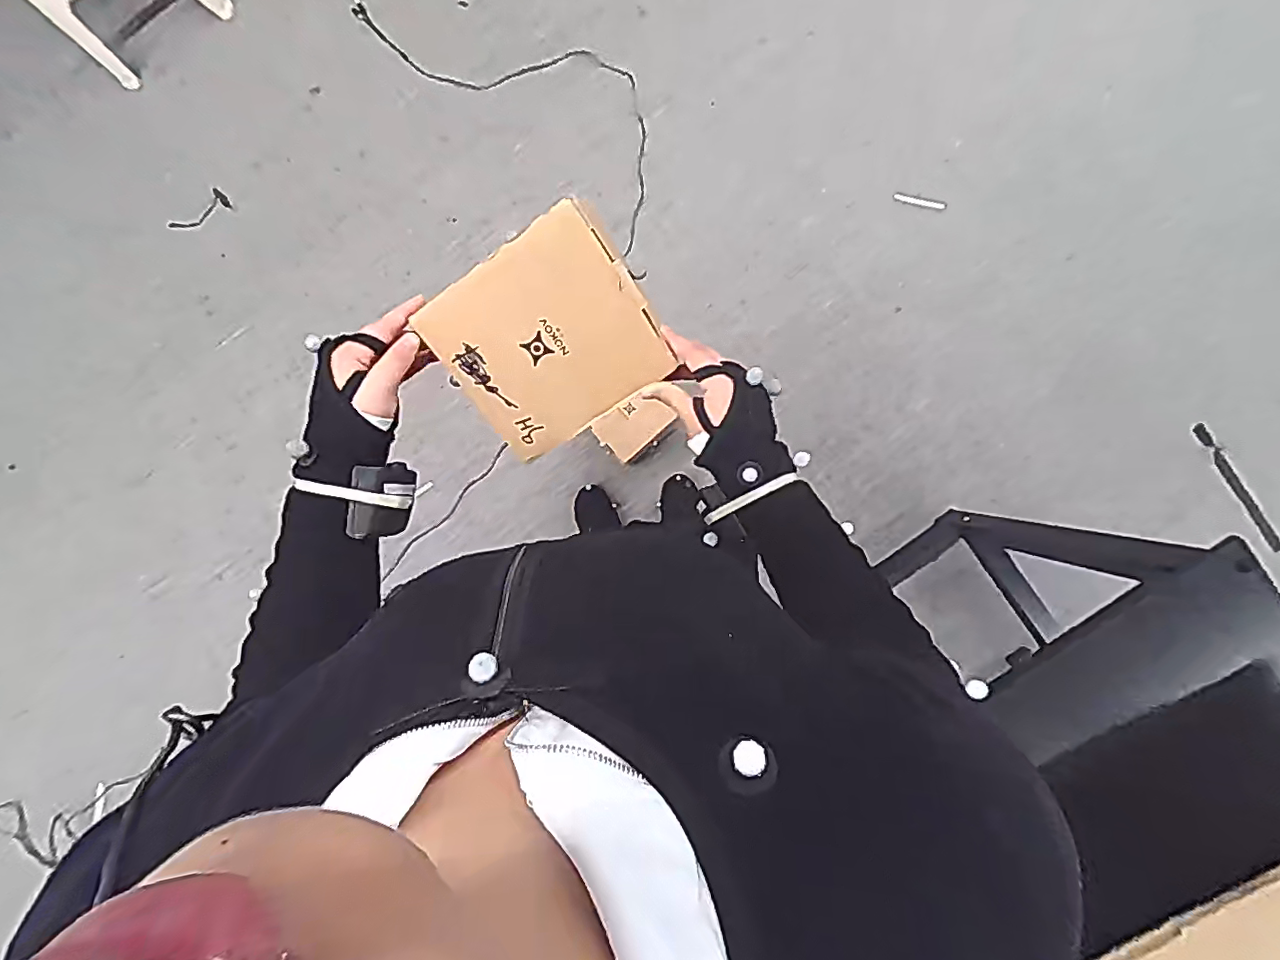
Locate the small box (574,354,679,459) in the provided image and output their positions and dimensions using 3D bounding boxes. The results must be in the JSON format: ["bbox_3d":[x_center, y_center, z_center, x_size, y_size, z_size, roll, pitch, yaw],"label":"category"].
[{"bbox_3d":[-0.026,-0.161,1.259,0.179,0.176,0.168,-43,91,1],"label":"small box"}]

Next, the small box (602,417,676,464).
[{"bbox_3d":[-0.025,-0.158,1.421,0.179,0.176,0.168,-39,90,3],"label":"small box"}]
